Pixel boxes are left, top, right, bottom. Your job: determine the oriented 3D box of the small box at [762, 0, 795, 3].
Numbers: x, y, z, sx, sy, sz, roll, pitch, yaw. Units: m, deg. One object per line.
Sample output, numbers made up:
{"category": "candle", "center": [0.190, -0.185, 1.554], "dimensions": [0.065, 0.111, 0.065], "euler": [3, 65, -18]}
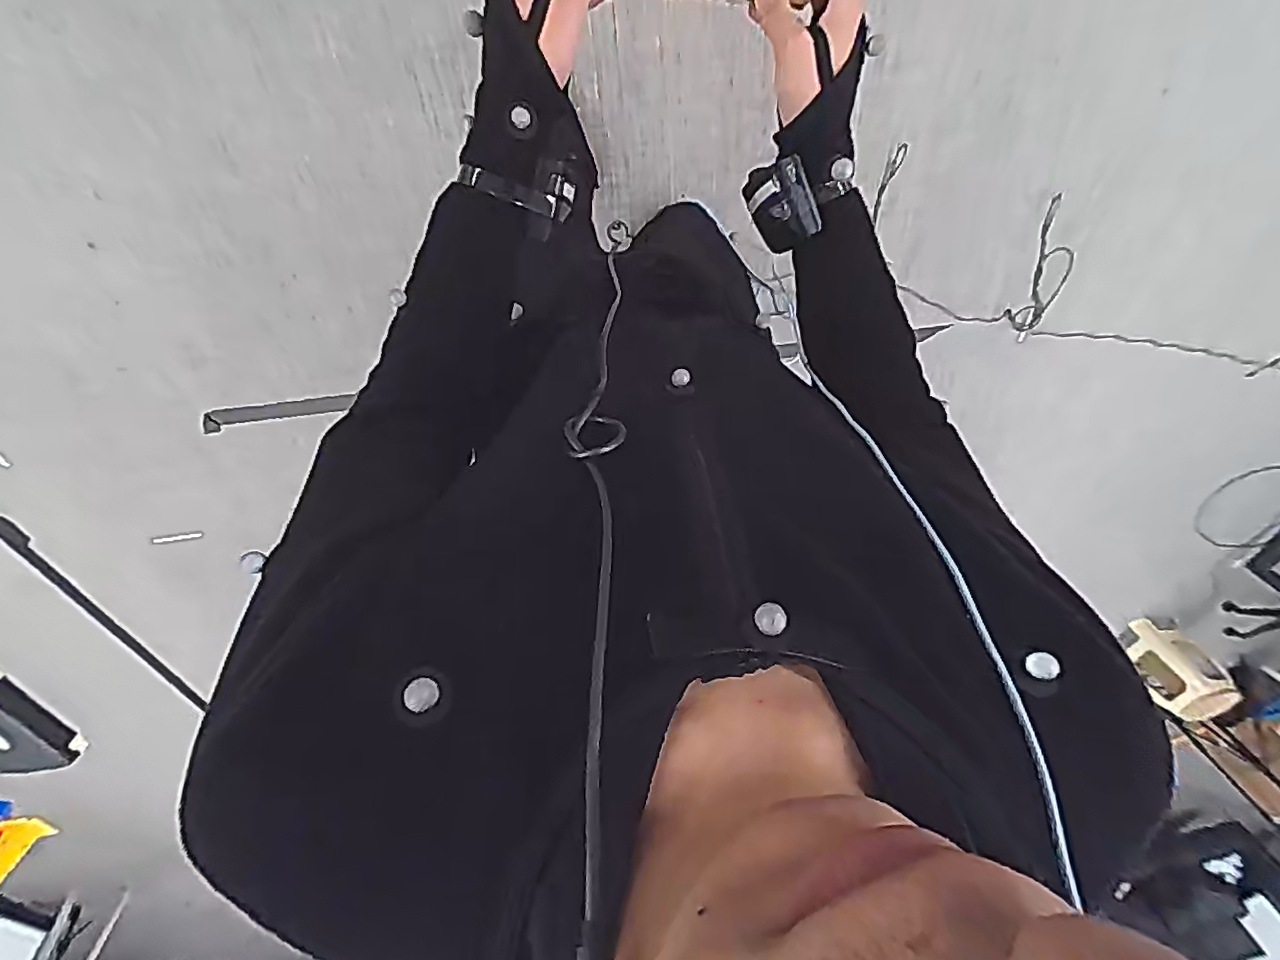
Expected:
{"category": "small box", "center": [0.037, -0.468, 0.380], "dimensions": [0.168, 0.176, 0.179], "euler": [-1, 132, -14]}
